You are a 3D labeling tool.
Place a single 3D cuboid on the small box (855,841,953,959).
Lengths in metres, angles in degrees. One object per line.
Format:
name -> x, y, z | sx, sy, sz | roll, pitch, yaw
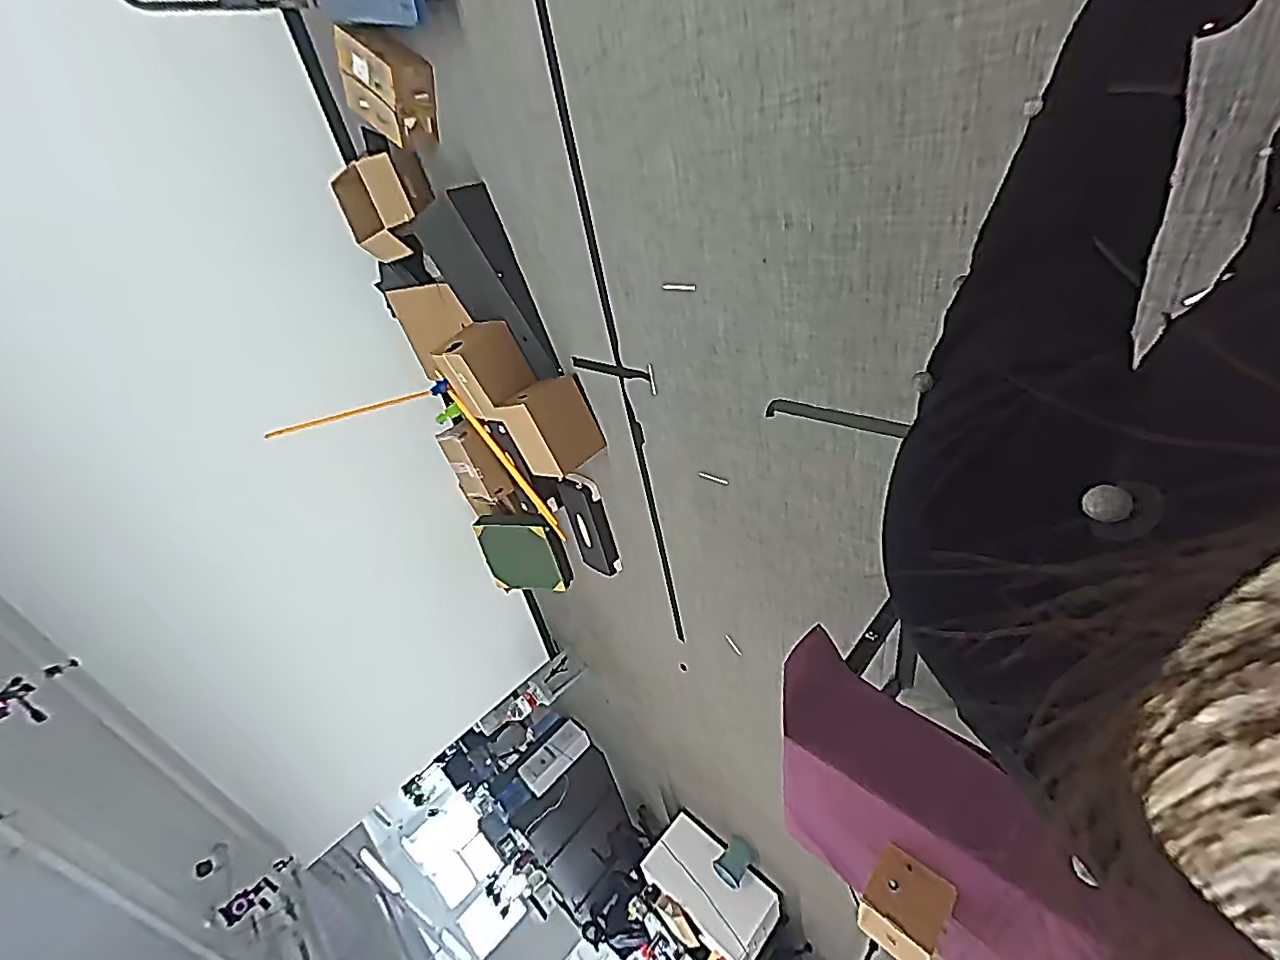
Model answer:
small box -> 0.654, 1.049, 1.339 | 0.168, 0.176, 0.179 | 22, 136, 41
